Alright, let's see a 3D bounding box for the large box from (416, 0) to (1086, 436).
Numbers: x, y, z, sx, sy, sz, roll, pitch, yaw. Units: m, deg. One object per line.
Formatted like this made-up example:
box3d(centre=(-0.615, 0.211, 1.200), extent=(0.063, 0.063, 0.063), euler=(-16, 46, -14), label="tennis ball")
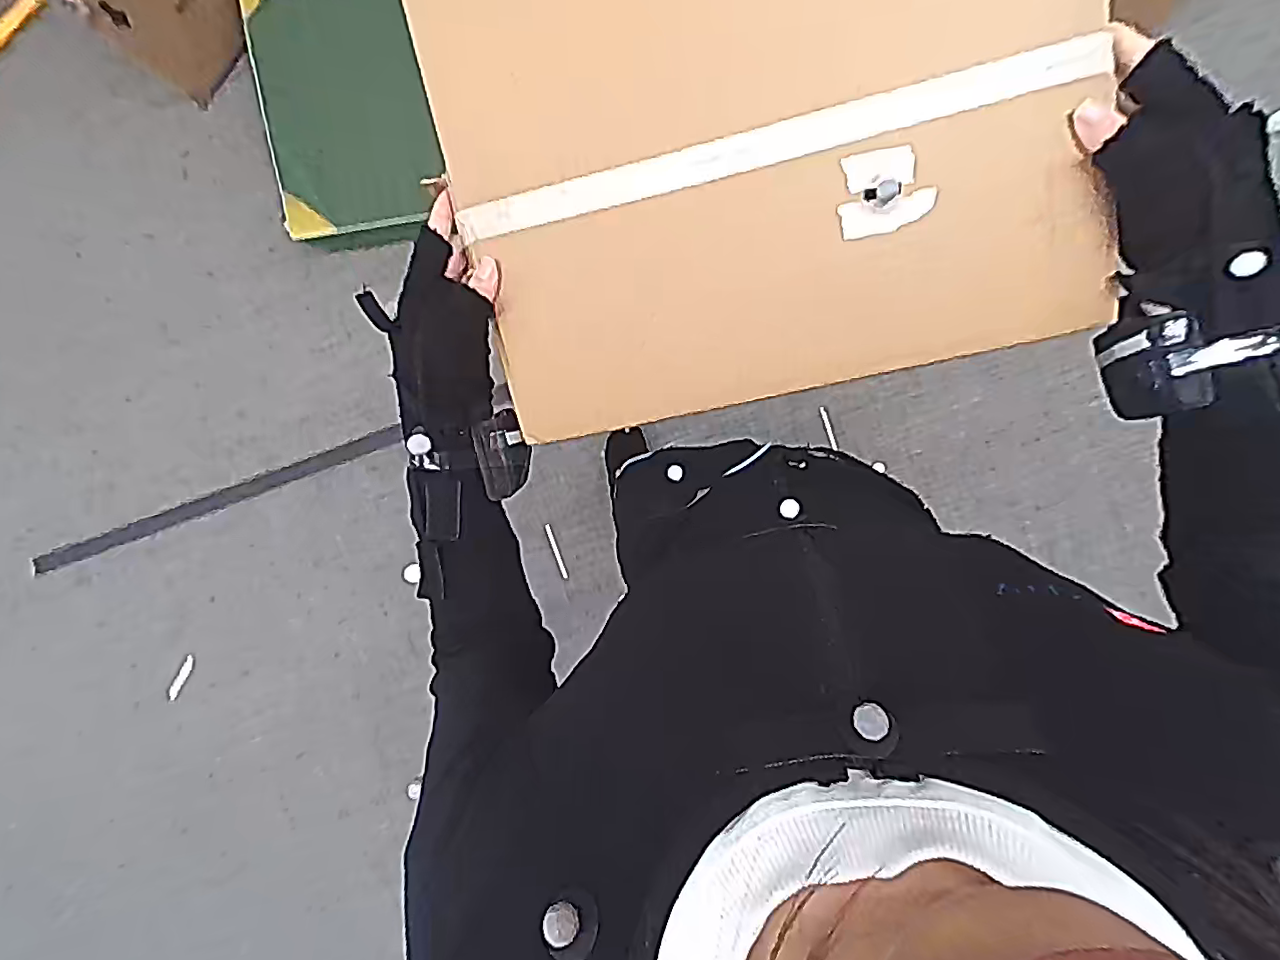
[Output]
box3d(centre=(0.086, -0.251, 0.503), extent=(0.408, 0.320, 0.320), euler=(-12, 103, 6), label="large box")
